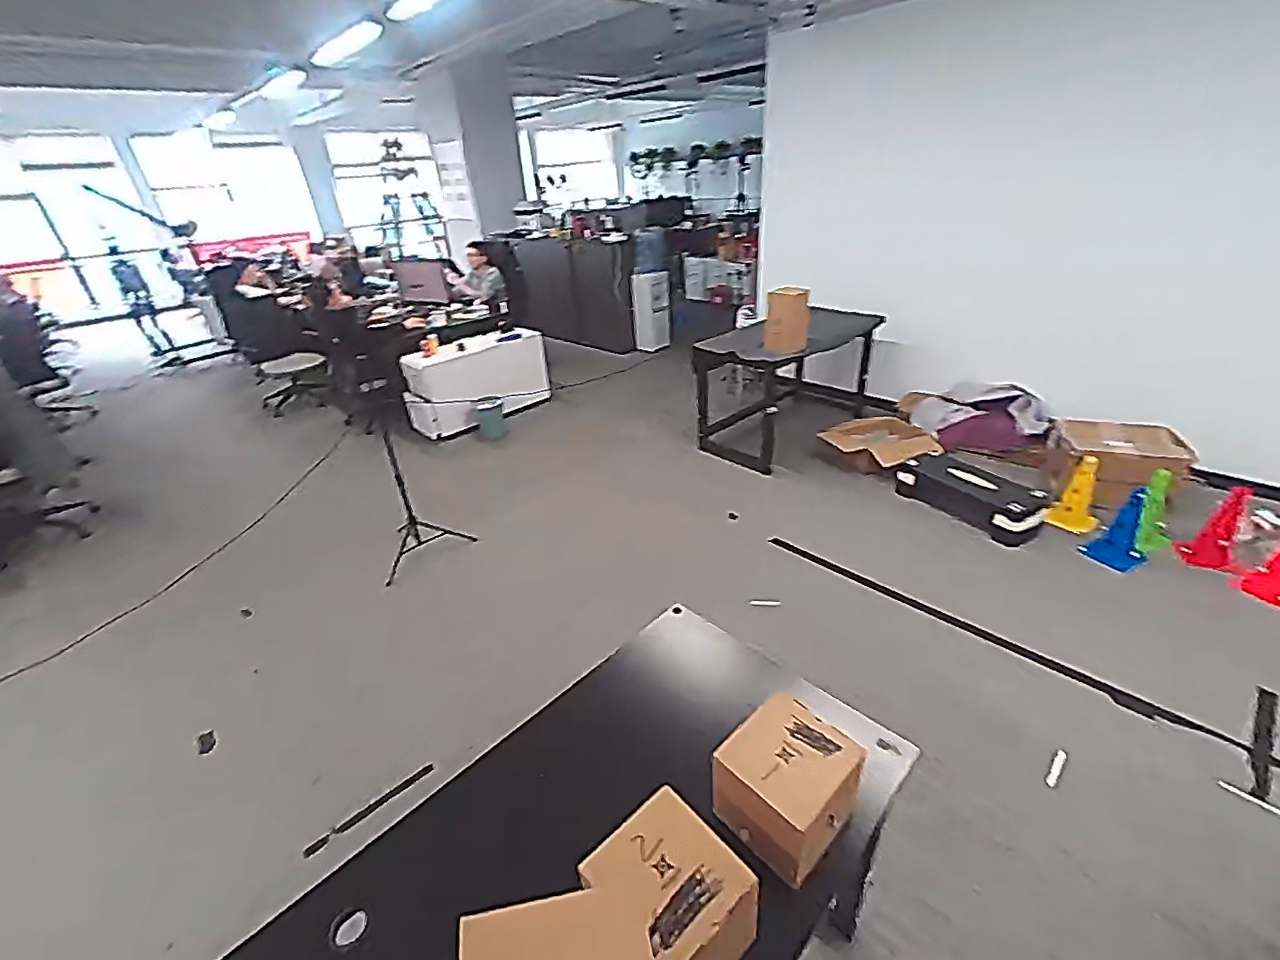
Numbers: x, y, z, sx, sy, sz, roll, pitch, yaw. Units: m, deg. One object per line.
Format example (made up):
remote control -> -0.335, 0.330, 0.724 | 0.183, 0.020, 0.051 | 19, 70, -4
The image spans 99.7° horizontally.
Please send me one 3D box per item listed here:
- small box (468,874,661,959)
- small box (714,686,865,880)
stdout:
small box -> -0.068, 0.496, 0.474 | 0.168, 0.176, 0.179 | 0, 33, -17
small box -> 0.236, 0.484, 0.877 | 0.179, 0.176, 0.168 | -29, 37, -33
